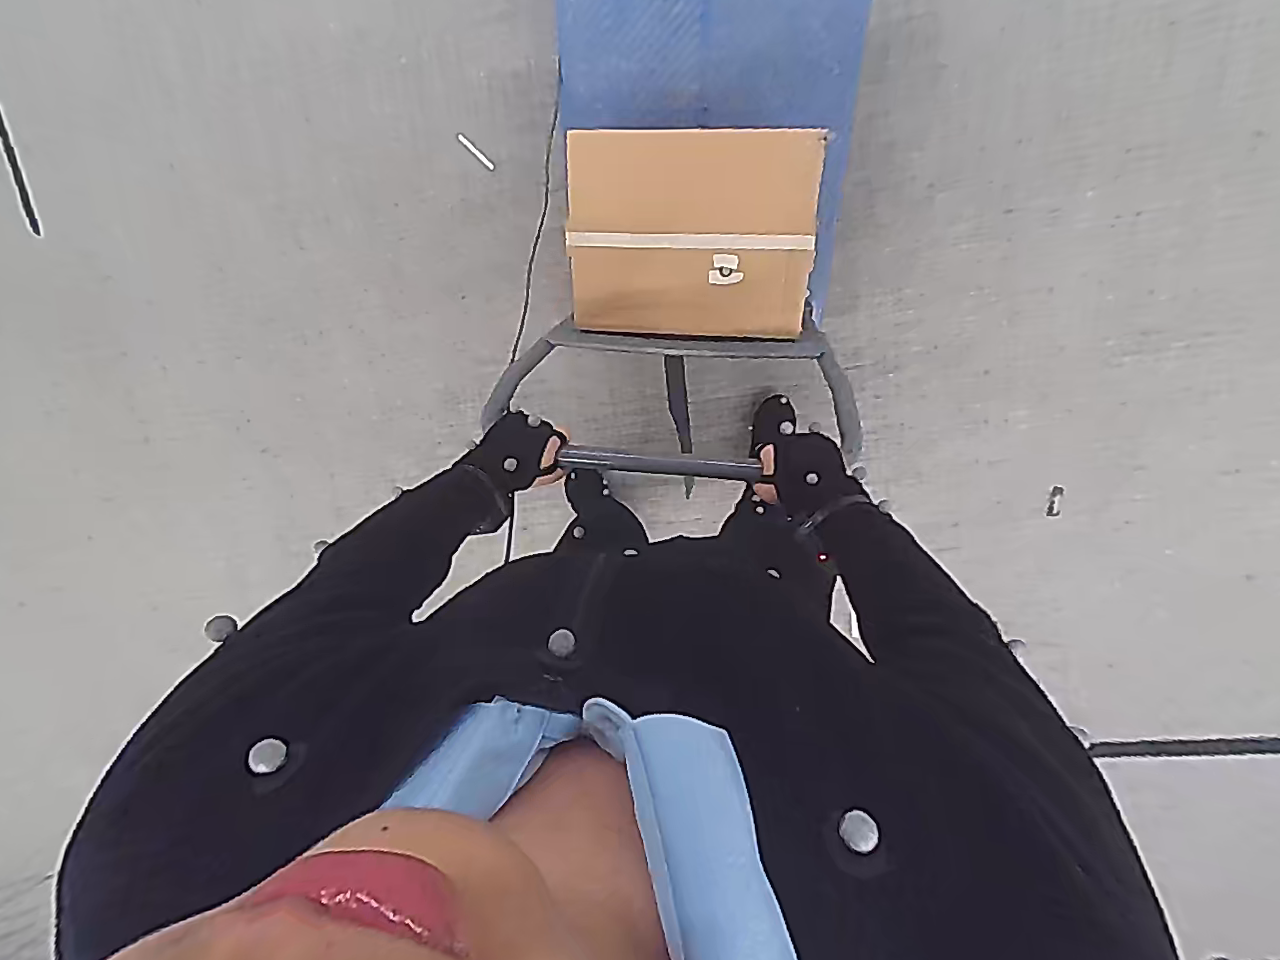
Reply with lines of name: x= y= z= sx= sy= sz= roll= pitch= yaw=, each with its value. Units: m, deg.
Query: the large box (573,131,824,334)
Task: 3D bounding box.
large box: x=0.105 y=-0.470 z=1.051 sx=0.408 sy=0.320 sz=0.320 roll=4 pitch=117 yaw=7
